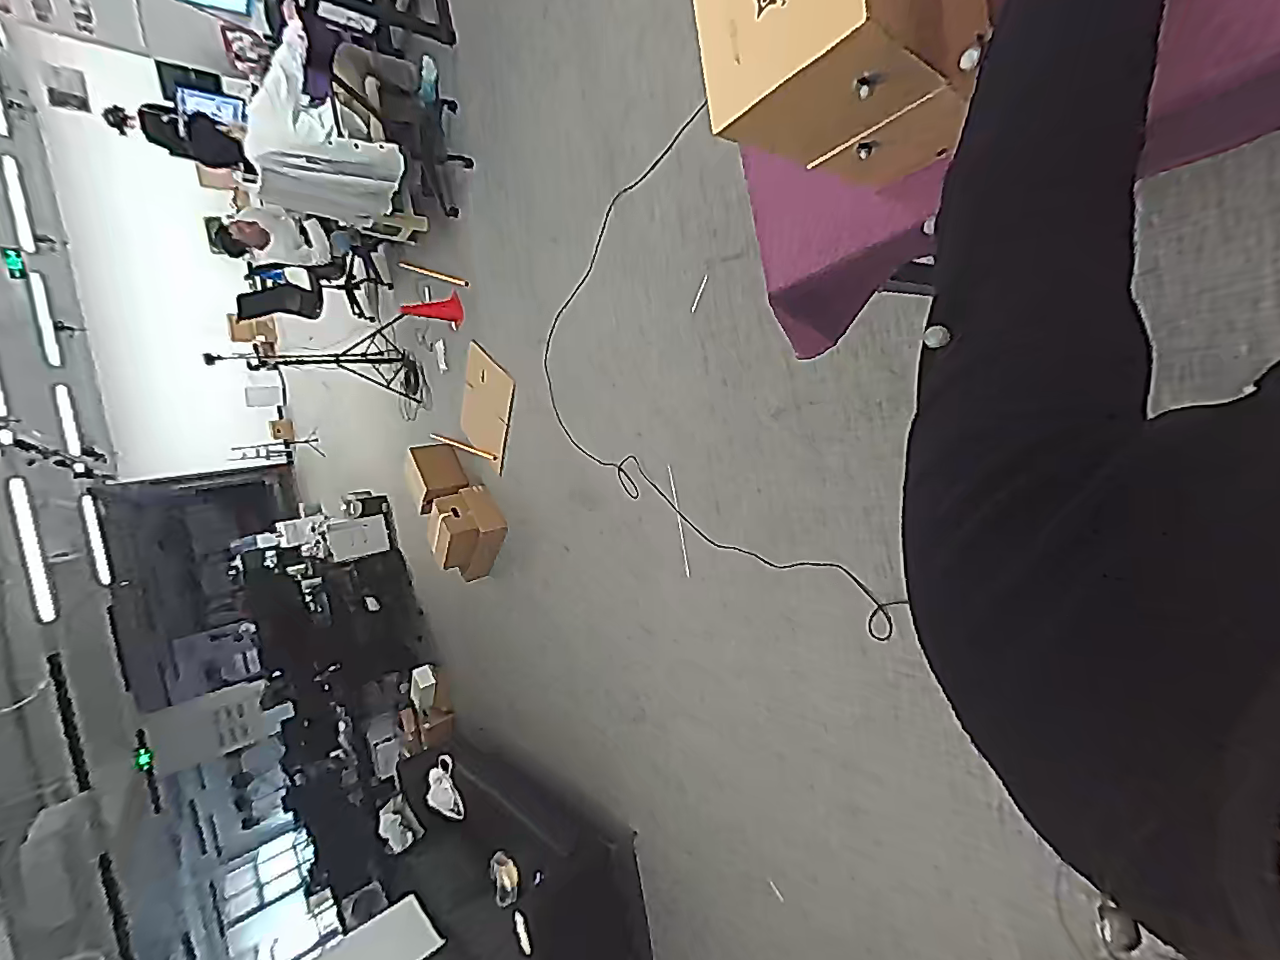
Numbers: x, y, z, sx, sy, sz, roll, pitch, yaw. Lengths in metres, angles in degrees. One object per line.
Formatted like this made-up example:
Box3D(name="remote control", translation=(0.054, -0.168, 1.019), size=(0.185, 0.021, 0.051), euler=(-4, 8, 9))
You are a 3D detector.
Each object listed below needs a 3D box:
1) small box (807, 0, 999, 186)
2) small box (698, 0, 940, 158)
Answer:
Box3D(name="small box", translation=(0.310, -0.493, 0.658), size=(0.168, 0.176, 0.179), euler=(-5, 95, 52))
Box3D(name="small box", translation=(0.185, -0.466, 0.555), size=(0.179, 0.176, 0.168), euler=(-4, 96, 51))
